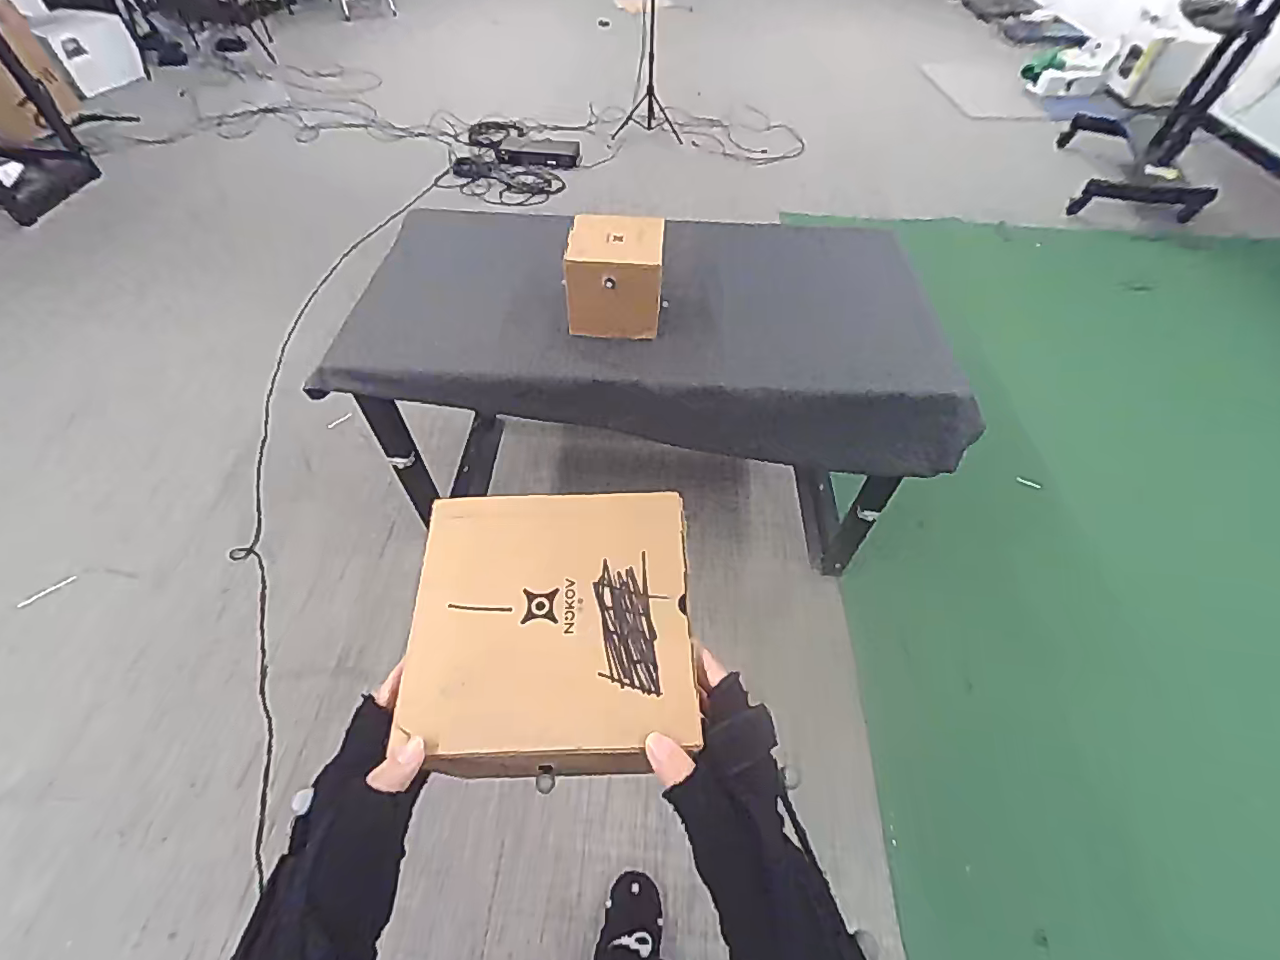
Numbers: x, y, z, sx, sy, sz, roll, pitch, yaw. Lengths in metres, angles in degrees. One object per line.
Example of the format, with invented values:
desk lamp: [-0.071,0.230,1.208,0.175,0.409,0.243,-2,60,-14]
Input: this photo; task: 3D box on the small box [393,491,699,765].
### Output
small box: [-0.058,0.120,0.416,0.179,0.176,0.168,-1,59,-2]

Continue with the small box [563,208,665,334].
small box: [-0.047,-0.405,1.056,0.179,0.176,0.168,4,54,0]
